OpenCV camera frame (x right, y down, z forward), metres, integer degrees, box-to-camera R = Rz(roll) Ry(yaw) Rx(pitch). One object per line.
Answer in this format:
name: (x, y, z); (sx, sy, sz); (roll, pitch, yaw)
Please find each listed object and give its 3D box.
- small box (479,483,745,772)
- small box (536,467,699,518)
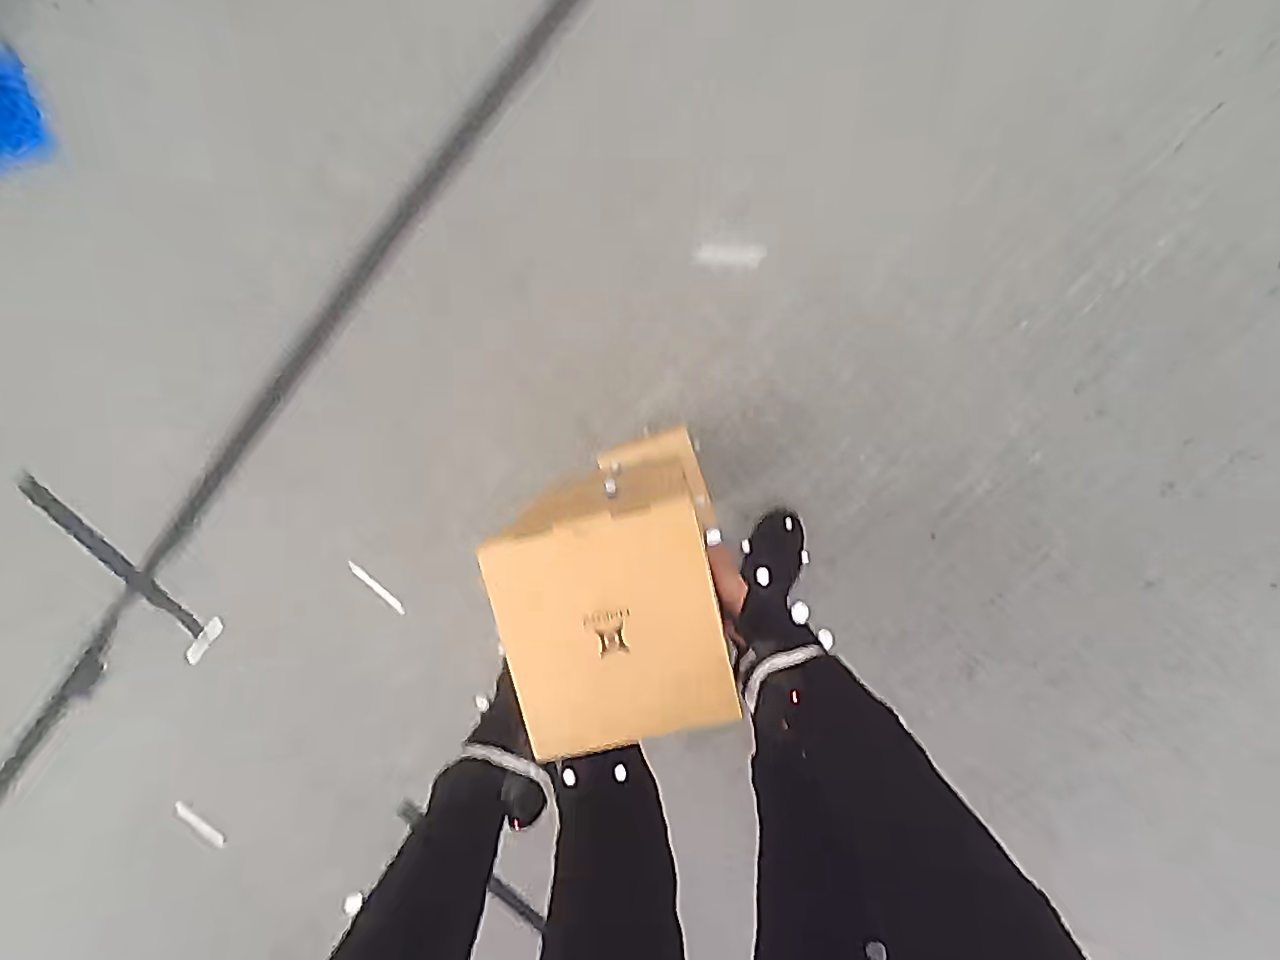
small box: (-0.014, 0.111, 0.471); (0.168, 0.176, 0.179); (-13, 95, 4)
small box: (-0.008, 0.085, 0.633); (0.168, 0.176, 0.179); (-13, 97, 4)
